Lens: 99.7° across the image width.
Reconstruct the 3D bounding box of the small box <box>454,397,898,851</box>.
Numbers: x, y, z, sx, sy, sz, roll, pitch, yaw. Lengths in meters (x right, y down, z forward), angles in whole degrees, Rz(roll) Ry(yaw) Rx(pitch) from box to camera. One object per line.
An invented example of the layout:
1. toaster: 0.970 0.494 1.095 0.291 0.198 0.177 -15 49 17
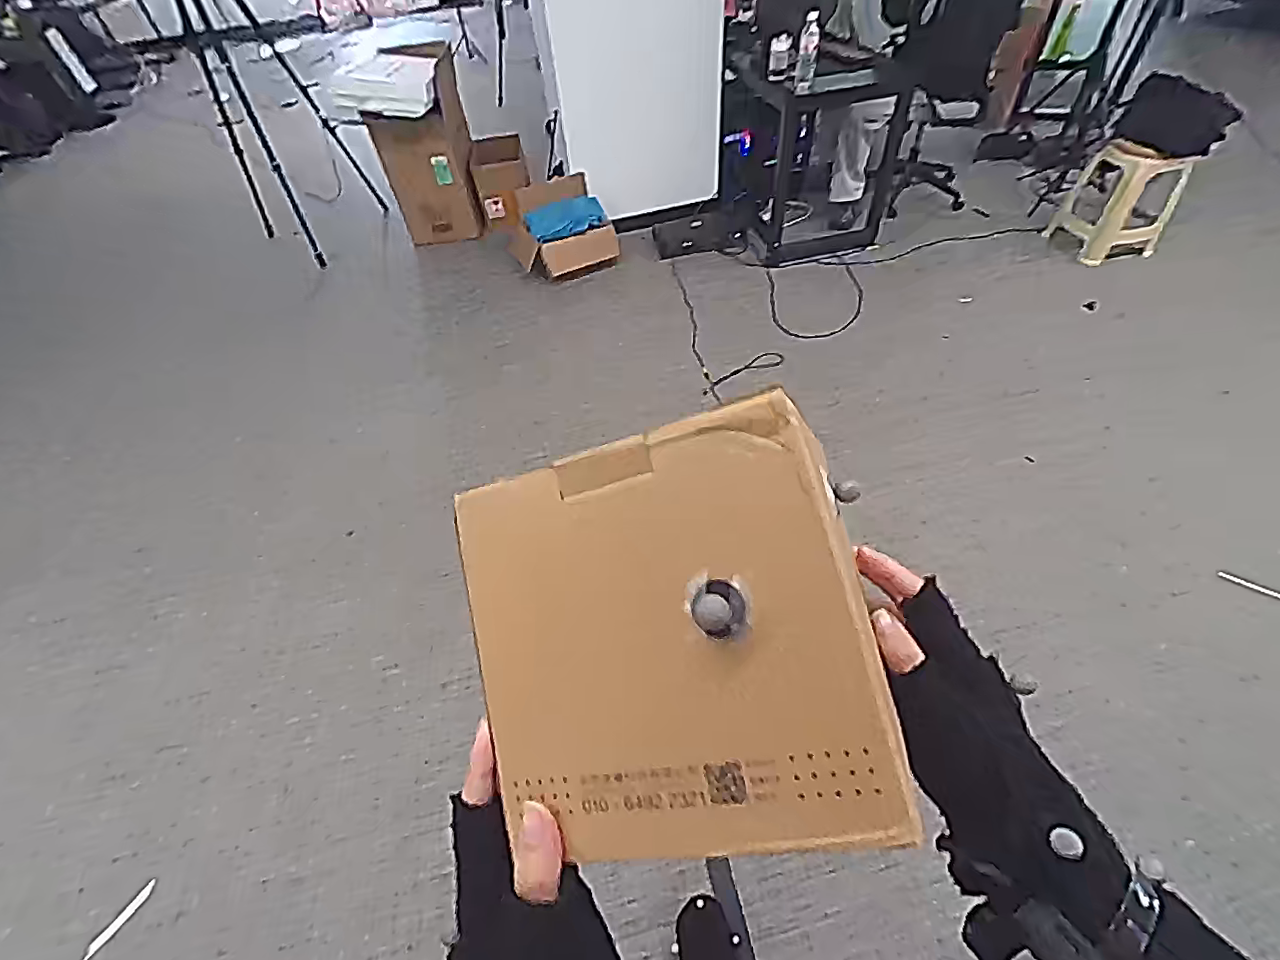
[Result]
1. small box: 0.032 0.075 0.299 0.168 0.179 0.176 -17 79 22
